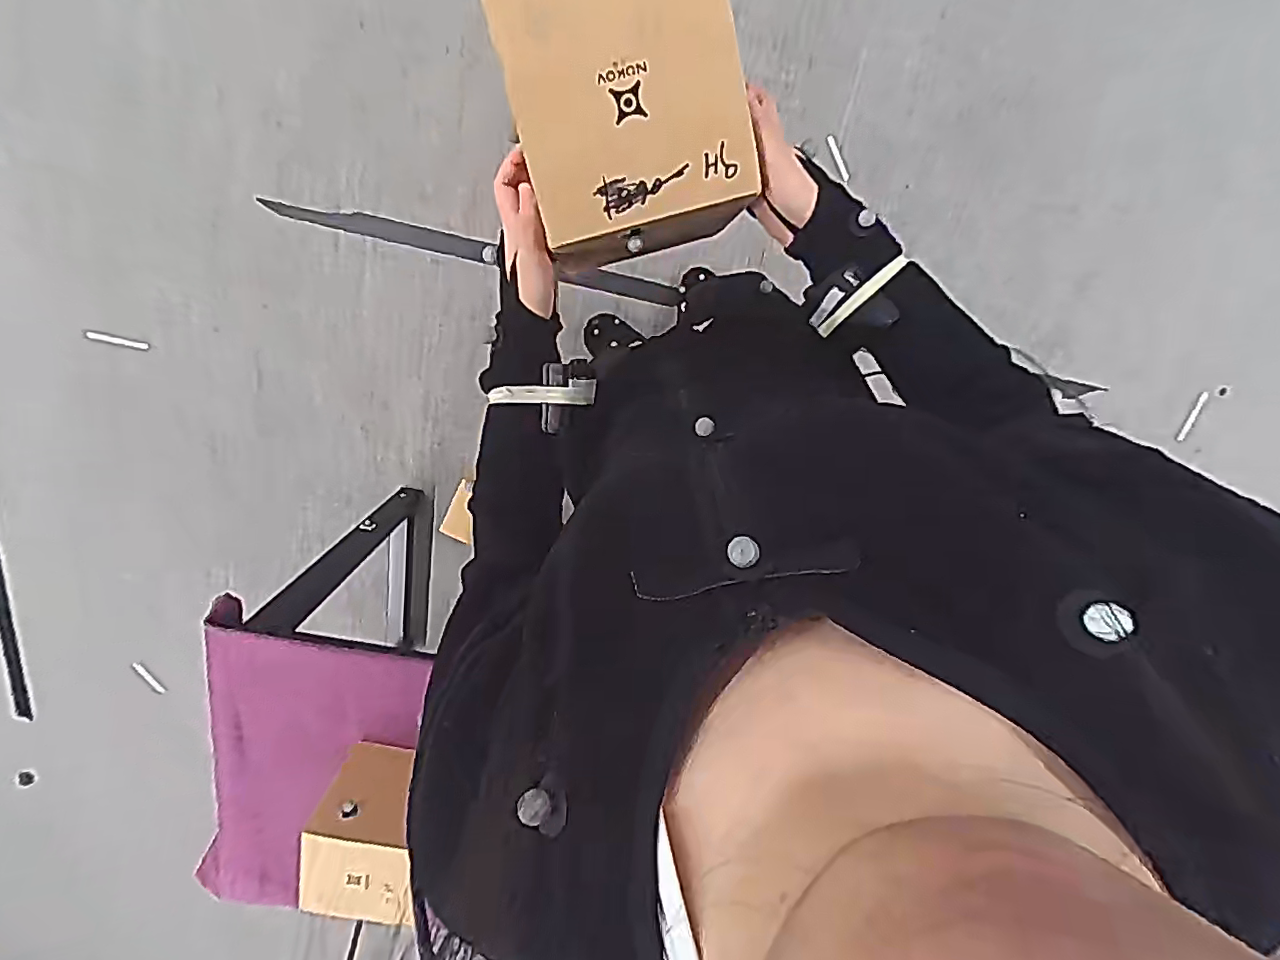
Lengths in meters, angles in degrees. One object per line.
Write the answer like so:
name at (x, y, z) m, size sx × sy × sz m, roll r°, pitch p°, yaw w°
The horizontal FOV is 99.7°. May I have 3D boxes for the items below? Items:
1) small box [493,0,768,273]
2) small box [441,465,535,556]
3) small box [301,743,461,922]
small box at (-0.009, -0.290, 0.453) m, size 0.168 × 0.176 × 0.179 m, roll -14°, pitch 105°, yaw 0°
small box at (-0.408, 0.075, 1.476) m, size 0.179 × 0.176 × 0.168 m, roll 27°, pitch 106°, yaw -11°
small box at (-0.408, 0.557, 0.871) m, size 0.179 × 0.176 × 0.168 m, roll 12°, pitch 110°, yaw -5°
